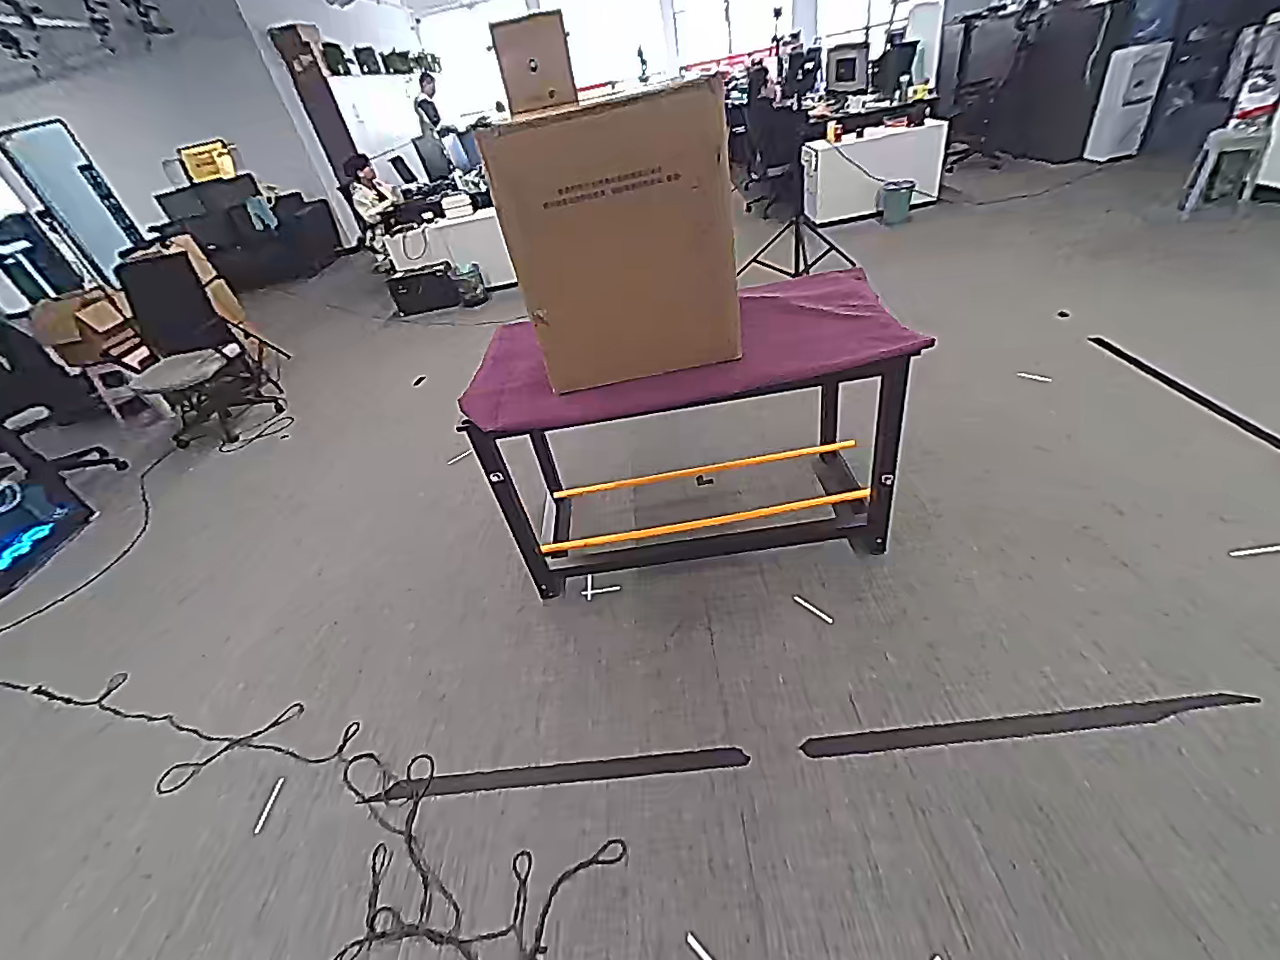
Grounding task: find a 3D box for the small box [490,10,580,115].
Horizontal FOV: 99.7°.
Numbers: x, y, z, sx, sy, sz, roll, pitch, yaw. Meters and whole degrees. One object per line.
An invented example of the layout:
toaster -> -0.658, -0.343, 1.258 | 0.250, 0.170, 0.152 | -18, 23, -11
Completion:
small box -> -0.241, -0.969, 1.264 | 0.168, 0.176, 0.179 | -13, 38, -3
